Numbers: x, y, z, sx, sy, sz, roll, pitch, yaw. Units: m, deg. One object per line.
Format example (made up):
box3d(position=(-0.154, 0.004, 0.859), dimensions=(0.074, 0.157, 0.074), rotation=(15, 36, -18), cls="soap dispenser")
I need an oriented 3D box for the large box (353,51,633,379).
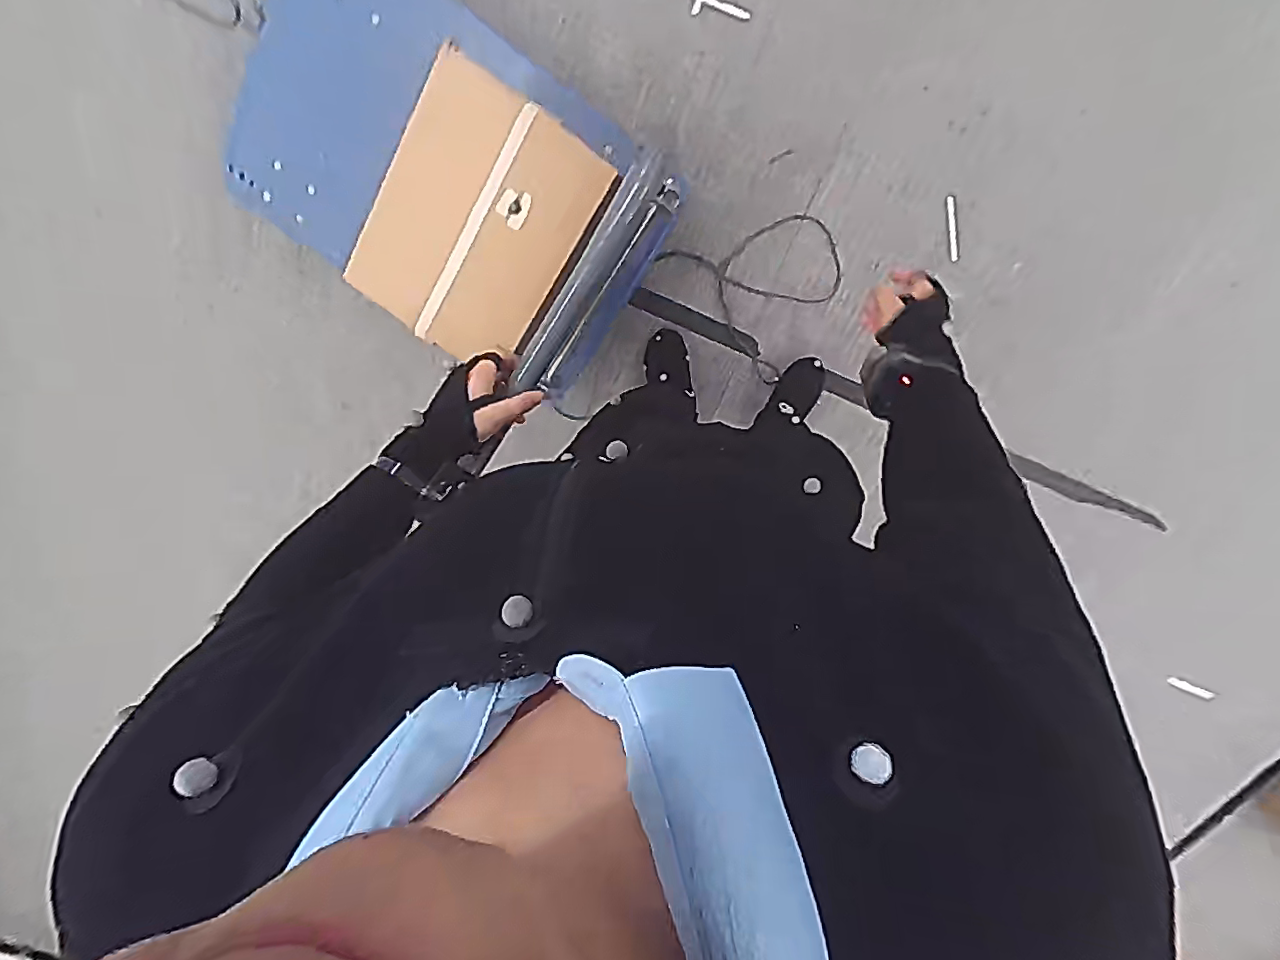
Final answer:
box3d(position=(-0.257, -0.463, 1.034), dimensions=(0.320, 0.320, 0.408), rotation=(34, 109, -8), cls="large box")
